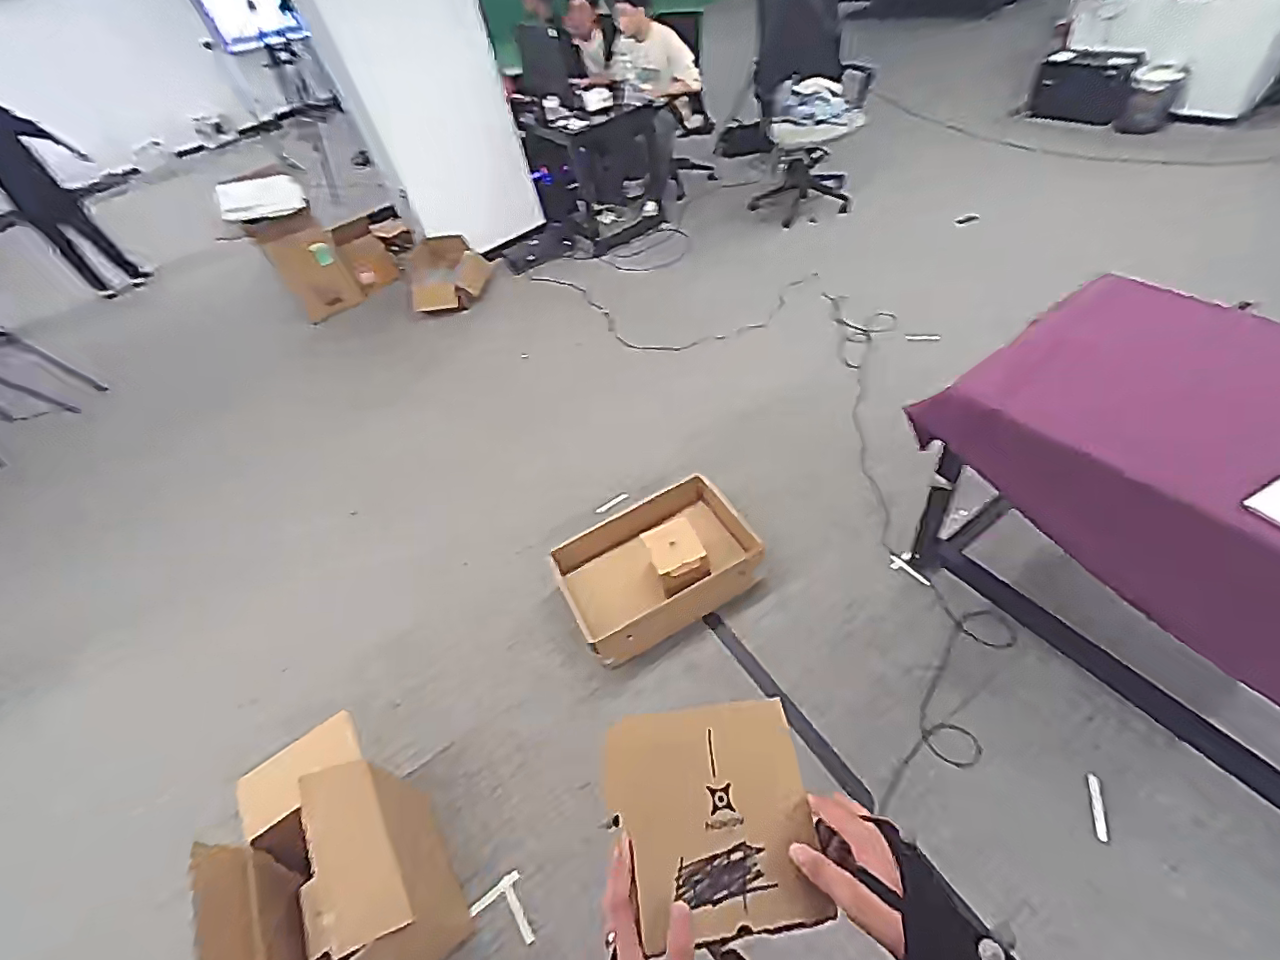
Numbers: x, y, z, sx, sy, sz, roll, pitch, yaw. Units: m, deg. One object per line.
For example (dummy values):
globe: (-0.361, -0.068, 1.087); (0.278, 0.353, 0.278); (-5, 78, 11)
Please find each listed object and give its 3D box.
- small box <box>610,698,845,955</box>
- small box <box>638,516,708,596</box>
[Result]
small box: (0.064, 0.329, 0.528); (0.168, 0.176, 0.179); (1, 54, -12)
small box: (0.113, 0.257, 1.769); (0.168, 0.176, 0.179); (-22, 48, -5)
